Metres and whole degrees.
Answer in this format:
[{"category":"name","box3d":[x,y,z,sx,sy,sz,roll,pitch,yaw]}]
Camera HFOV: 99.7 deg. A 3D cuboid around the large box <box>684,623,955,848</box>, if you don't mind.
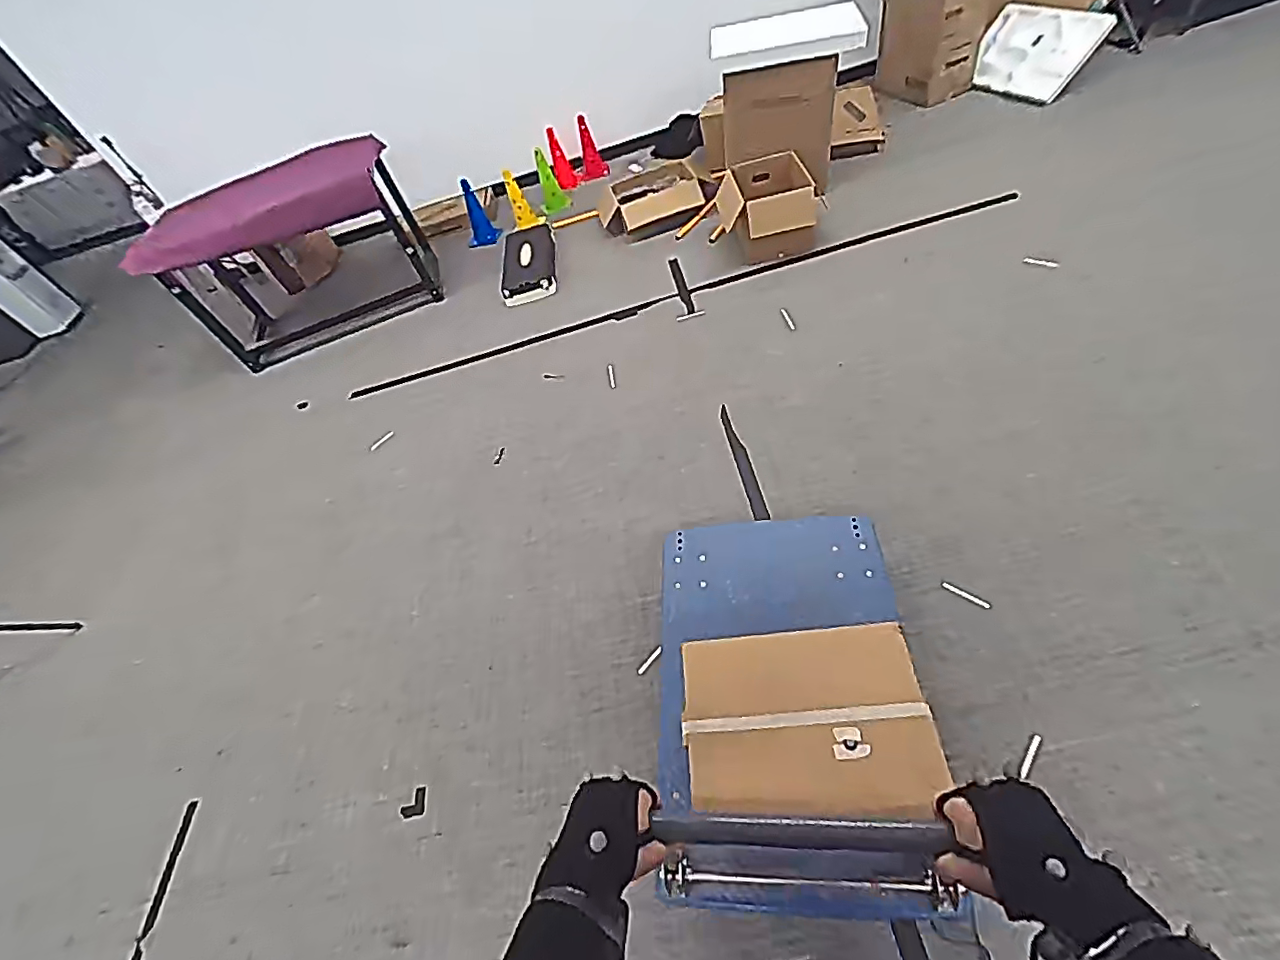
[{"category":"large box","box3d":[0.313,0.507,1.053,0.408,0.320,0.320,-8,51,9]}]
